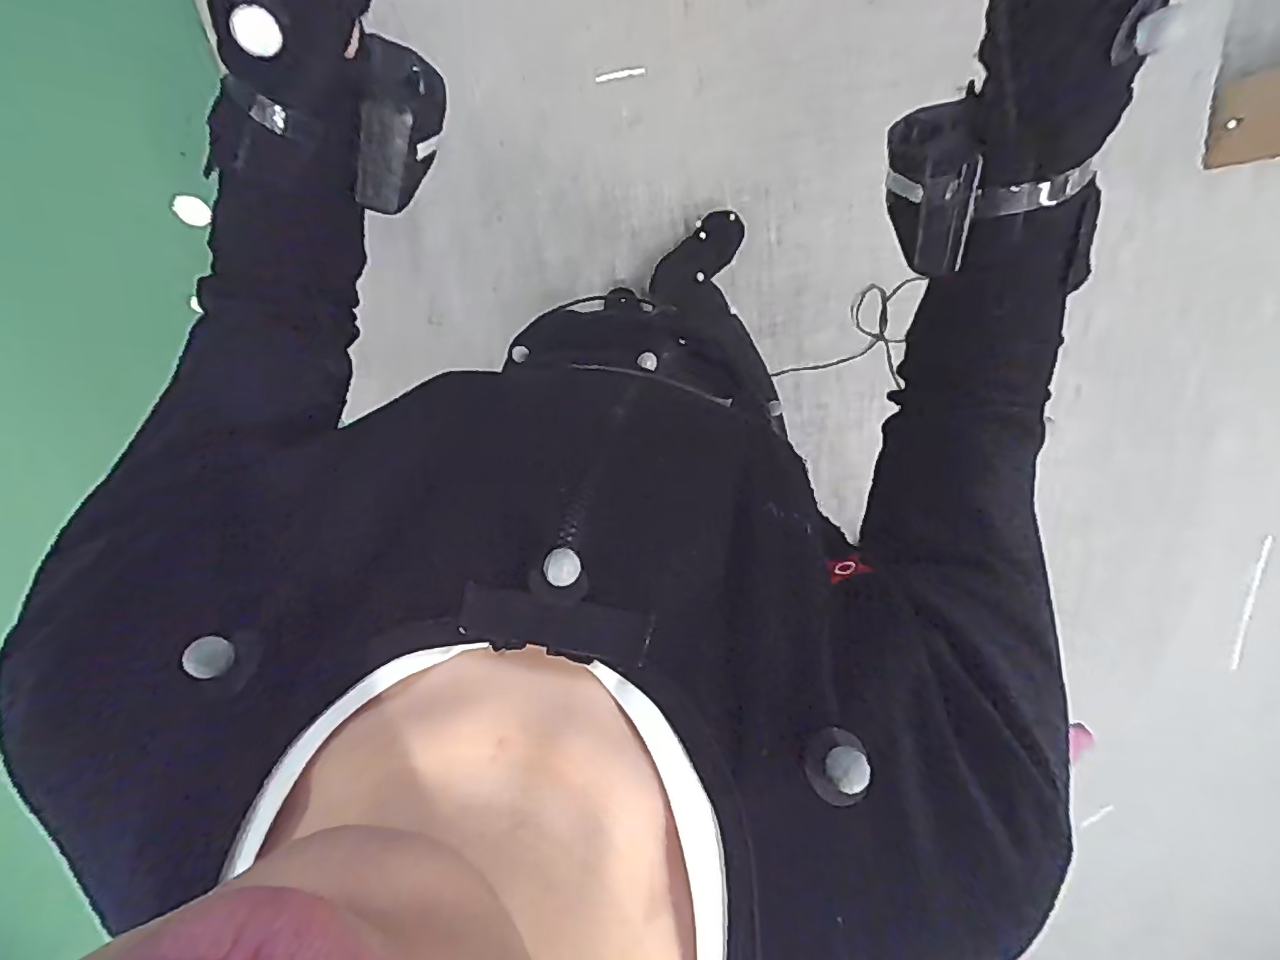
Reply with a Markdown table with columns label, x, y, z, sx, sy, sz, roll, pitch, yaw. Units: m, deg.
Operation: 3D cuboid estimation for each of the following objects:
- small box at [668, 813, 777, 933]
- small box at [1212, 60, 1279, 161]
| label | x | y | z | sx | sy | sz | roll | pitch | yaw |
| --- | --- | --- | --- | --- | --- | --- | --- | --- | --- |
| small box | 0.134 | 0.713 | 0.932 | 0.168 | 0.176 | 0.179 | -2 | 111 | 2 |
| small box | 1.332 | -0.756 | 1.082 | 0.179 | 0.176 | 0.168 | -7 | 111 | 5 |
